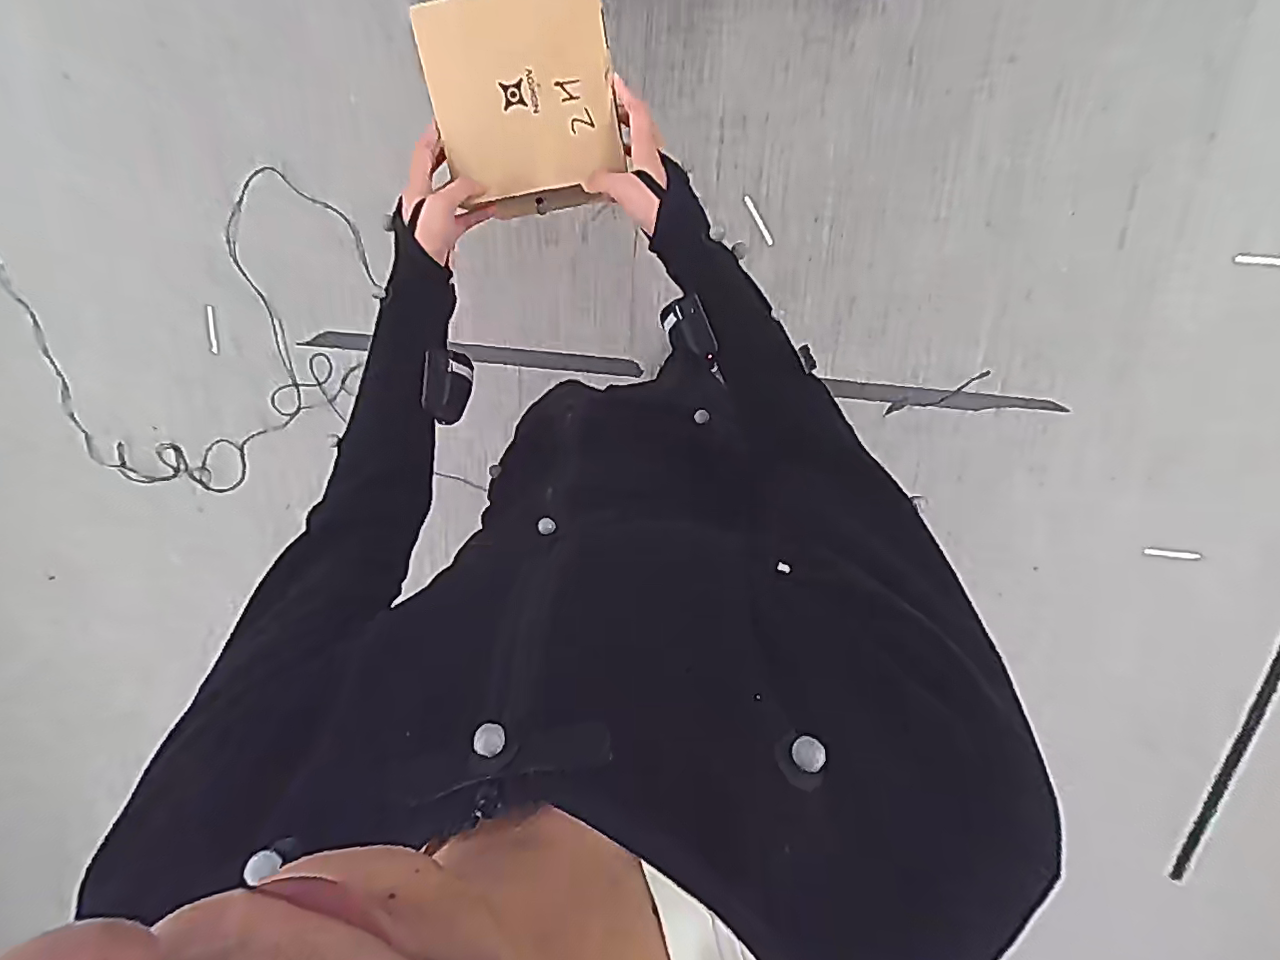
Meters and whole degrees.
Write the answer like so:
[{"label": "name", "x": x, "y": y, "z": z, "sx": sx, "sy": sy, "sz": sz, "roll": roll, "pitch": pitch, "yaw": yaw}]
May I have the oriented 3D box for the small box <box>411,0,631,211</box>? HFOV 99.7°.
[{"label": "small box", "x": -0.108, "y": -0.396, "z": 0.579, "sx": 0.179, "sy": 0.176, "sz": 0.168, "roll": -8, "pitch": 112, "yaw": 3}]
